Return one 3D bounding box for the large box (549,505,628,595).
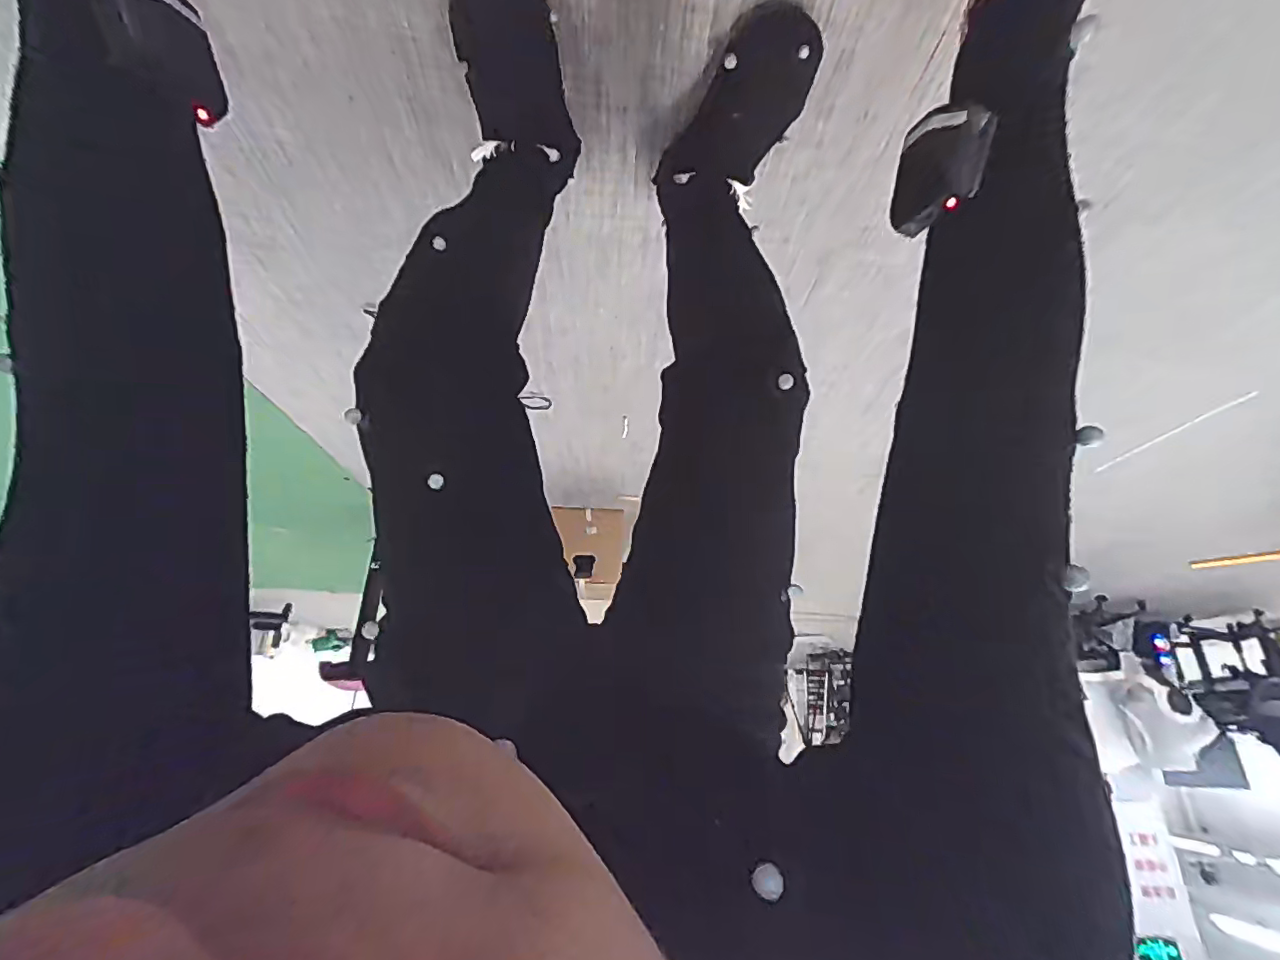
[{"bbox_3d":[-0.211,0.315,2.379,0.320,0.320,0.408,4,159,-1],"label":"large box"}]
